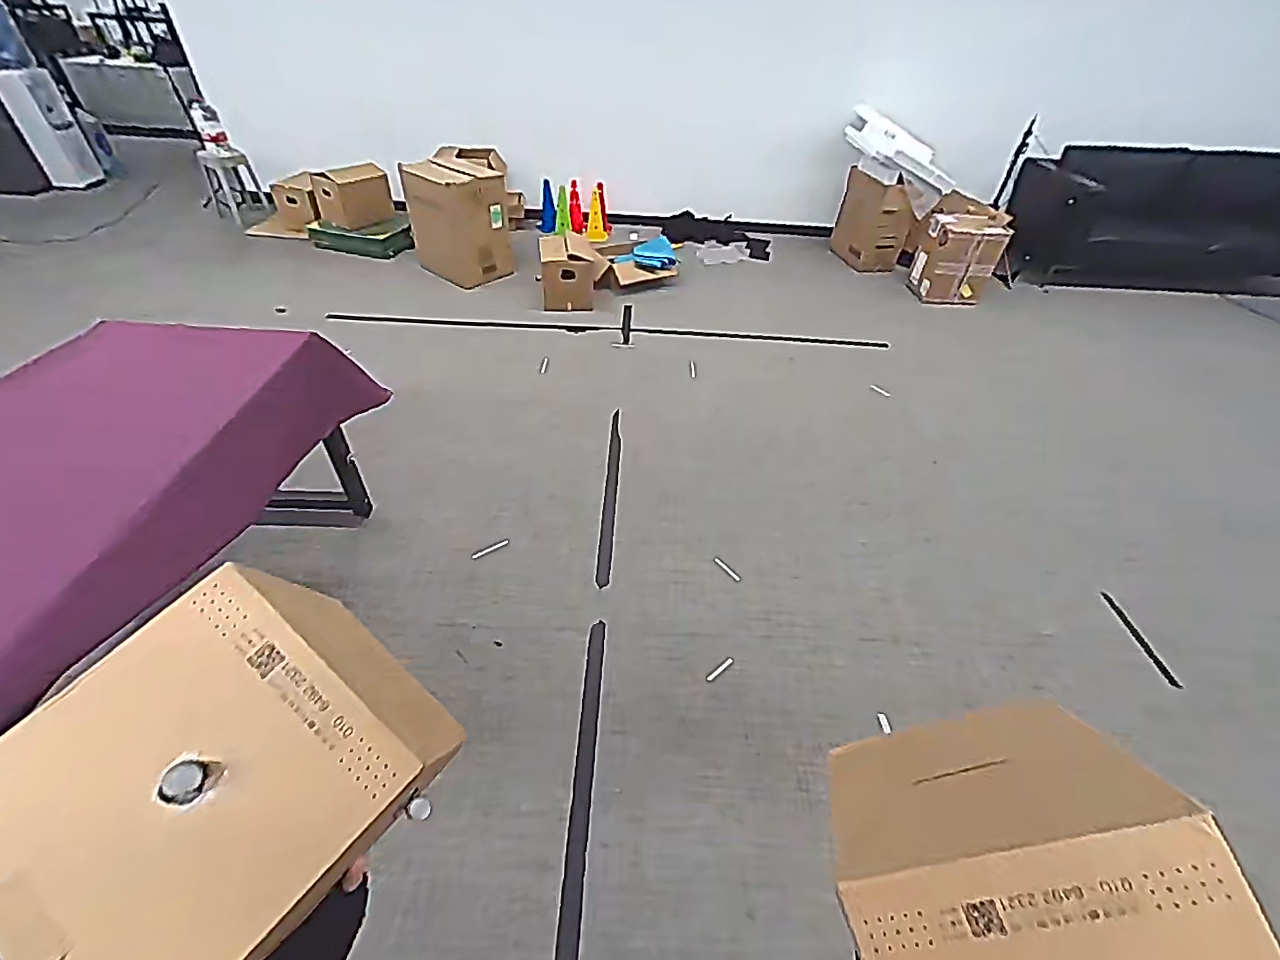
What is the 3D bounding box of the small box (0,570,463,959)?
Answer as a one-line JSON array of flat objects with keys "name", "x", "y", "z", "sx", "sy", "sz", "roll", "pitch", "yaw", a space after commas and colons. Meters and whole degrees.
[{"name": "small box", "x": -0.237, "y": 0.178, "z": 0.338, "sx": 0.168, "sy": 0.179, "sz": 0.176, "roll": 41, "pitch": 68, "yaw": 8}]
